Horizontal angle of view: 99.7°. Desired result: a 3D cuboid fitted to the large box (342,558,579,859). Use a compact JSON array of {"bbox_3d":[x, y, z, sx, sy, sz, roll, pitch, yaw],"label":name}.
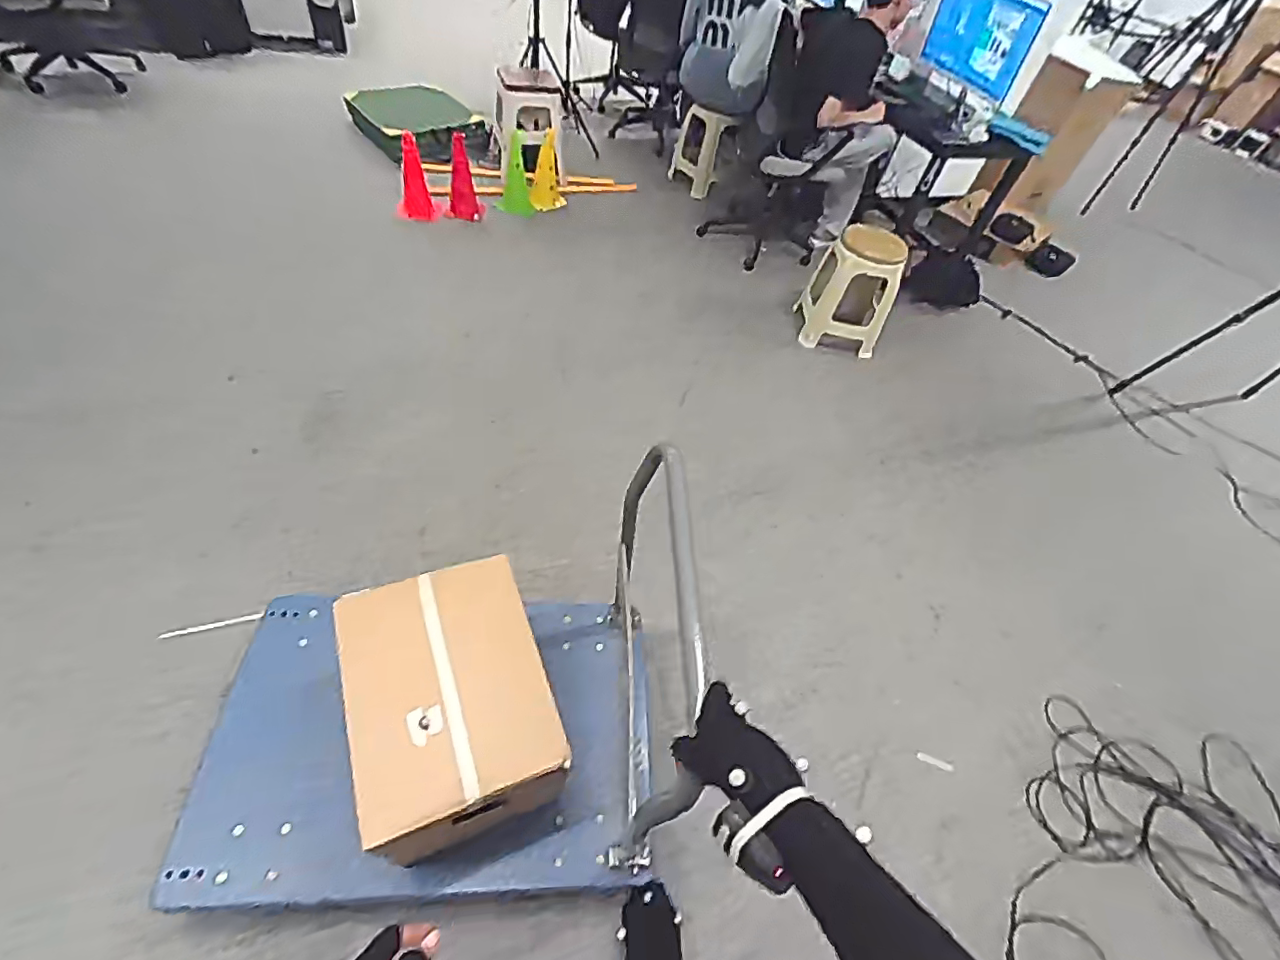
[{"bbox_3d":[-0.343,0.427,1.036,0.320,0.320,0.408,-14,56,-21],"label":"large box"}]
